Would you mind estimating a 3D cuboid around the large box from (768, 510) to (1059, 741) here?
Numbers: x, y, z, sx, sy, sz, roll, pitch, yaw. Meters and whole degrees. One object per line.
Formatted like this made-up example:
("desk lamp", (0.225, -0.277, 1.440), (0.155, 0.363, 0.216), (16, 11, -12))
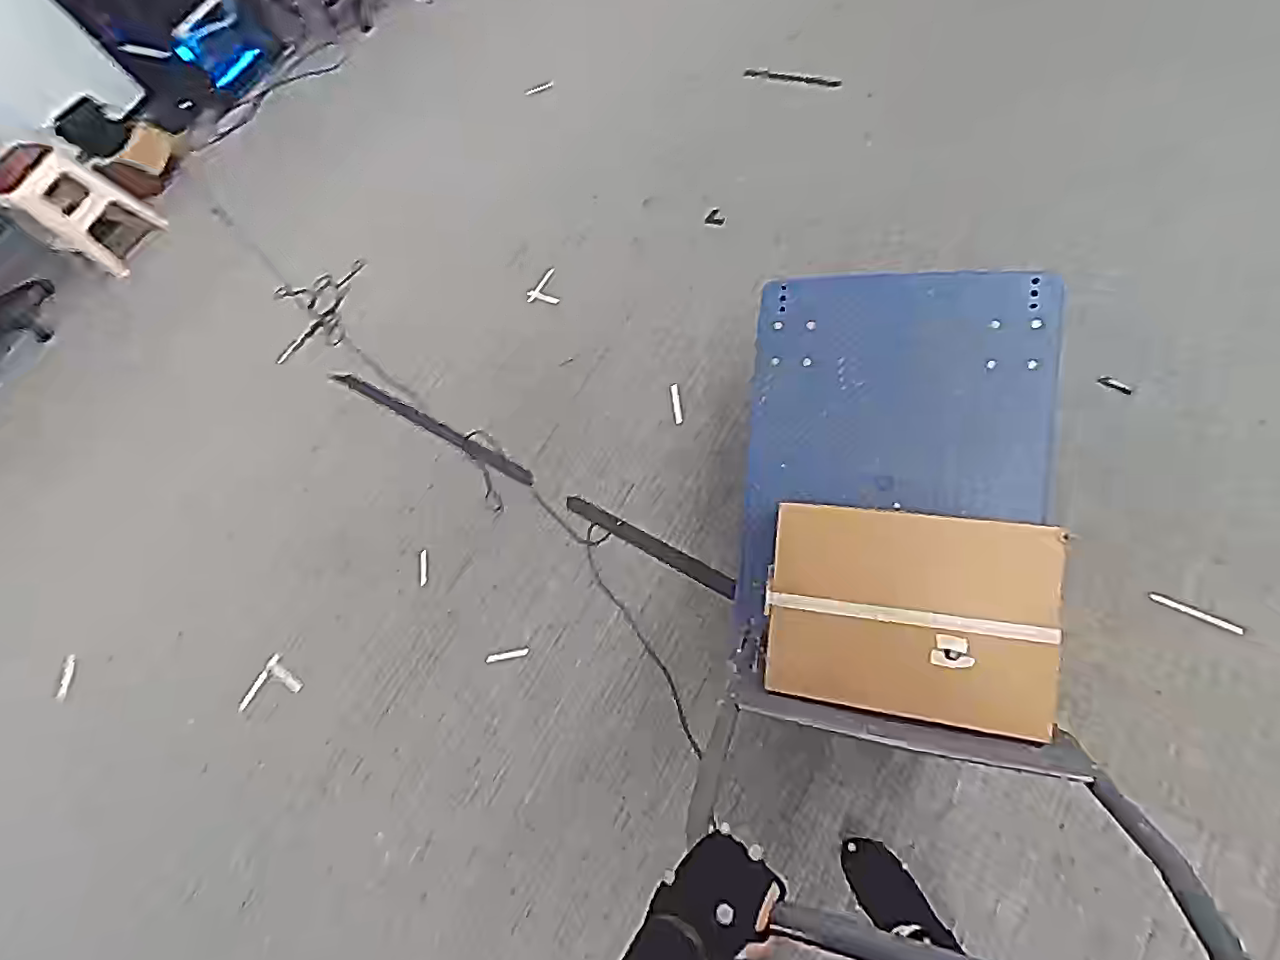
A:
("large box", (0.452, 0.223, 0.984), (0.408, 0.320, 0.320), (5, 90, 17))
